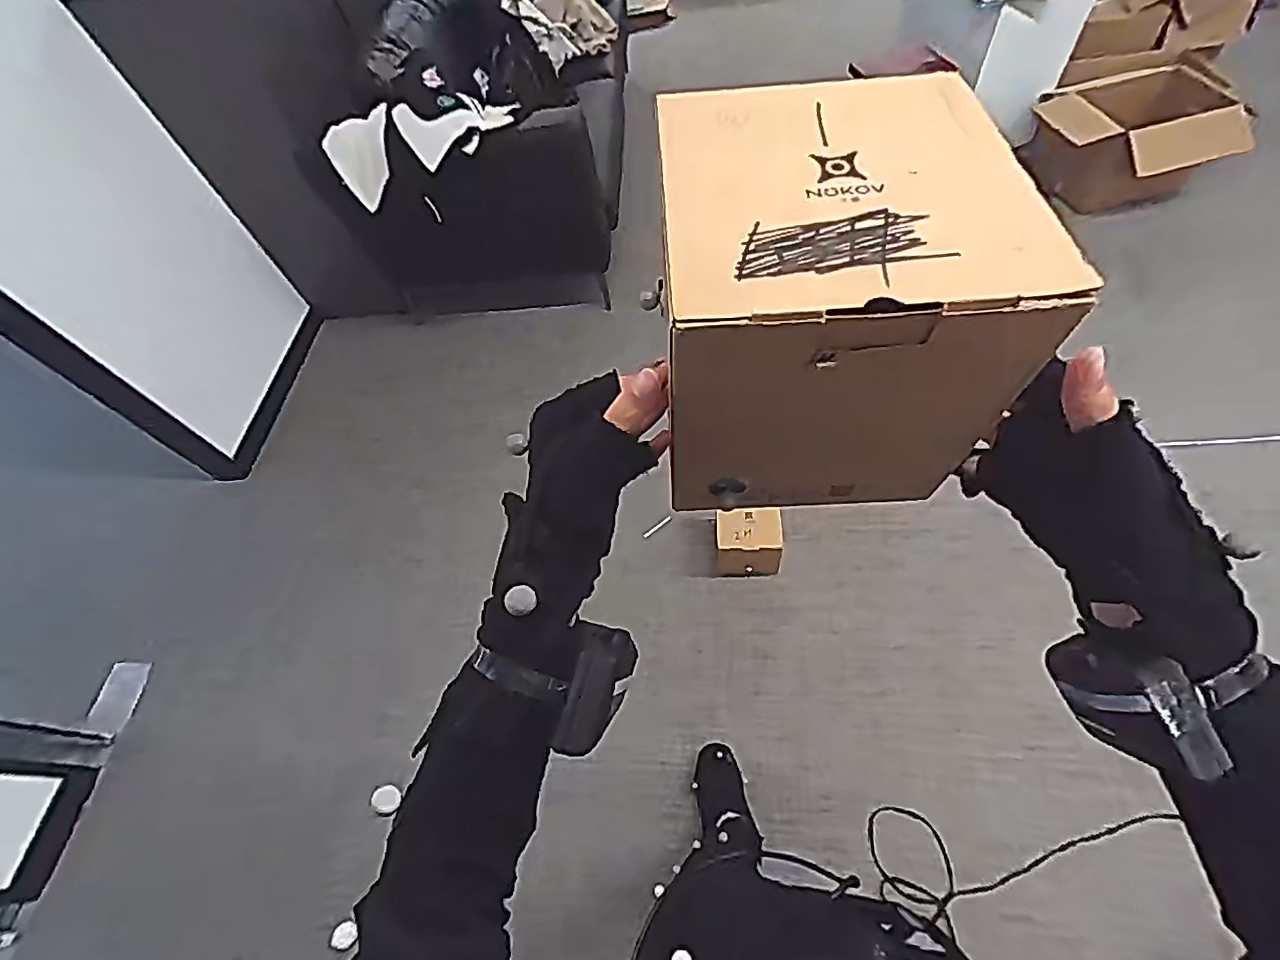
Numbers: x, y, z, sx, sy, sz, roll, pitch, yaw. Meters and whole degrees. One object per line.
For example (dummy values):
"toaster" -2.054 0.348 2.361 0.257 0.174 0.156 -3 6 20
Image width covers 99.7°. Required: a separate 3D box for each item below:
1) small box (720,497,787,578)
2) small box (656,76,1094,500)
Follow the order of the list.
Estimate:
"small box" 0.301 0.152 1.467 0.168 0.176 0.179 -2 58 8
"small box" 0.097 -0.096 0.320 0.168 0.176 0.179 -3 59 2
